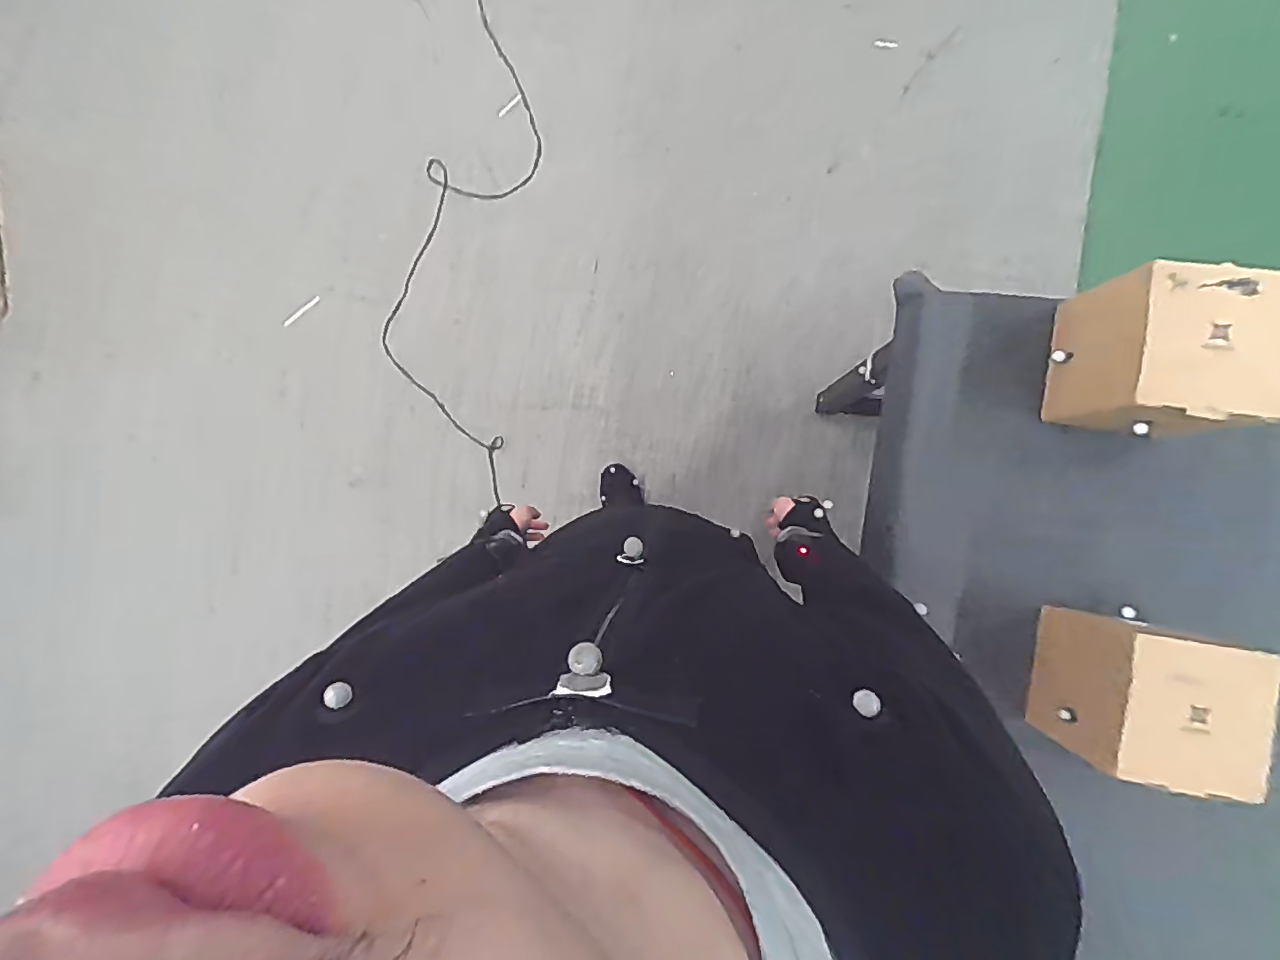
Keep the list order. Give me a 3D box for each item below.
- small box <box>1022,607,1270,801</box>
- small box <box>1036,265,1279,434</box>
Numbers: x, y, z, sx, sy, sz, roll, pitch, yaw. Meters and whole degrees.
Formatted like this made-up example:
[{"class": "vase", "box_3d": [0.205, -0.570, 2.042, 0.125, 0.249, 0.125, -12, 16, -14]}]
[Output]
[{"class": "small box", "box_3d": [0.645, 0.279, 0.712, 0.168, 0.176, 0.179, 8, 87, 1]}, {"class": "small box", "box_3d": [0.672, -0.160, 0.720, 0.168, 0.176, 0.179, 8, 90, 2]}]
